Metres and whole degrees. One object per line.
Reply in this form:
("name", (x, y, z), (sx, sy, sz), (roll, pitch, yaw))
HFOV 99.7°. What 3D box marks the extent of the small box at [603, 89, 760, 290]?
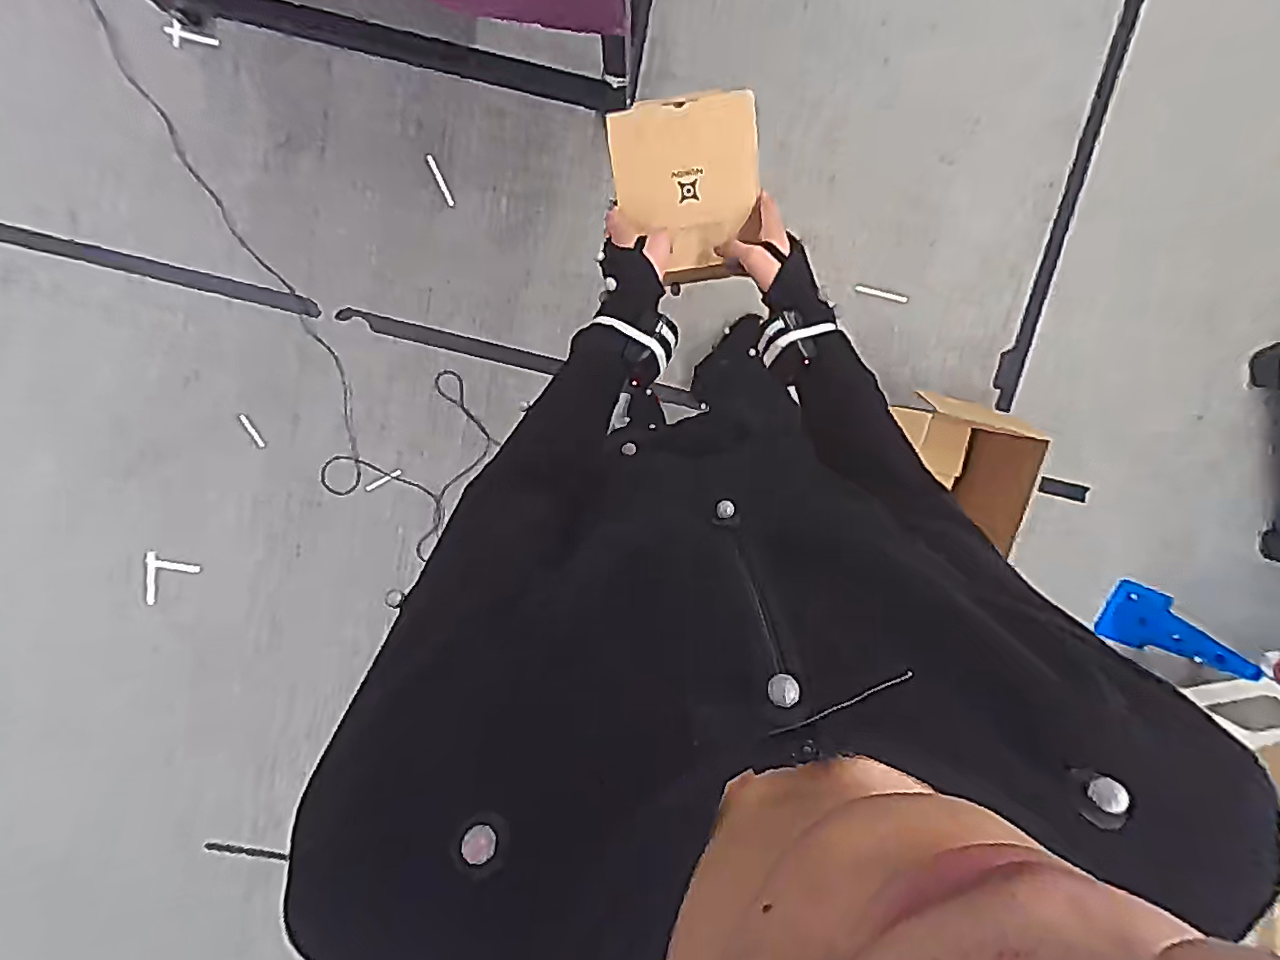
("small box", (0.047, -0.353, 0.690), (0.168, 0.176, 0.179), (-8, 103, 2))
